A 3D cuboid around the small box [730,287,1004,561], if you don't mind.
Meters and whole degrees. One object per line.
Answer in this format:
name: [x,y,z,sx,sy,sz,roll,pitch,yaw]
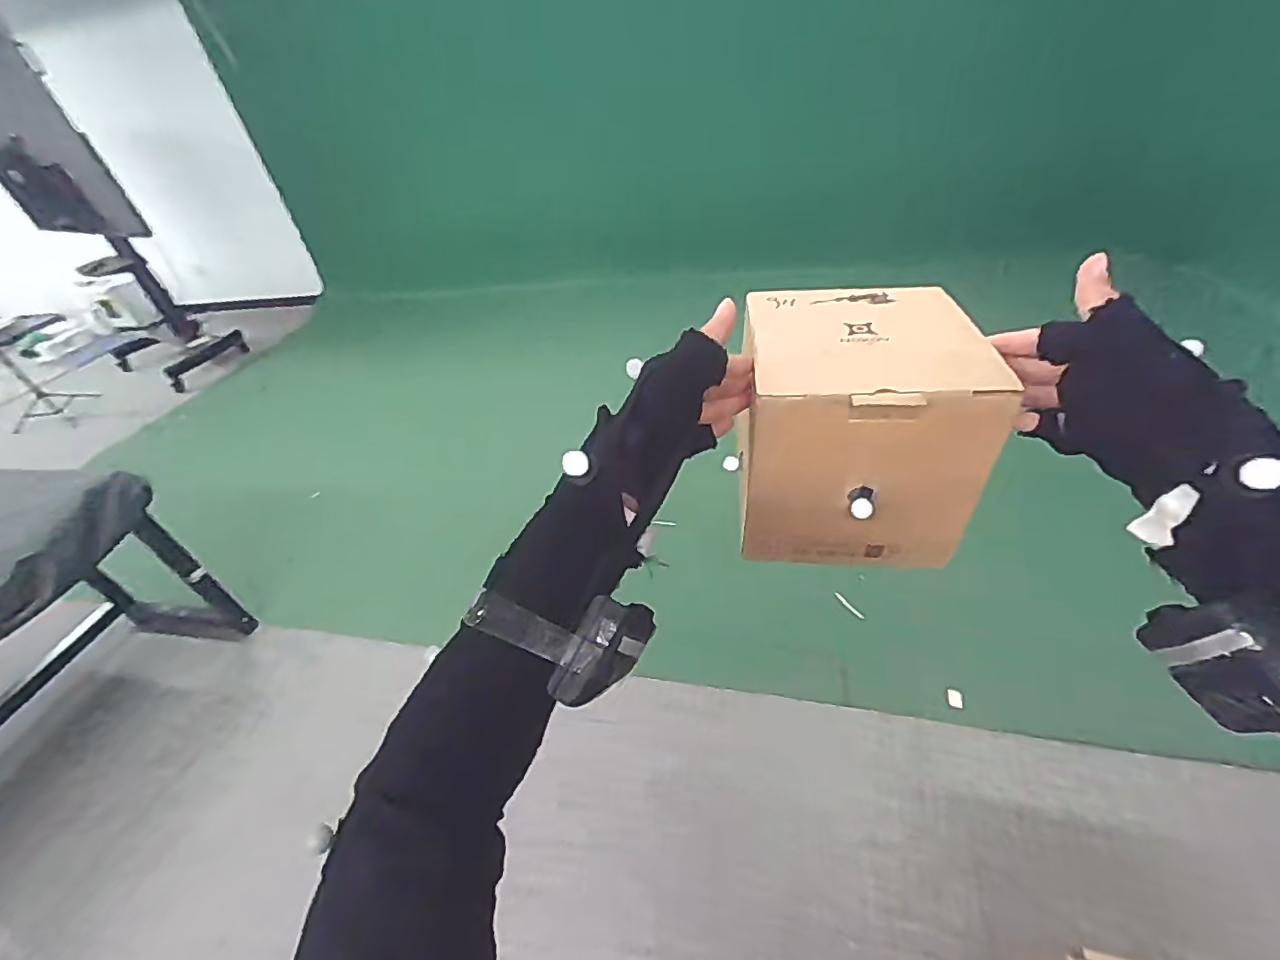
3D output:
small box: [0.165,-0.047,0.464,0.168,0.176,0.179,1,42,7]
